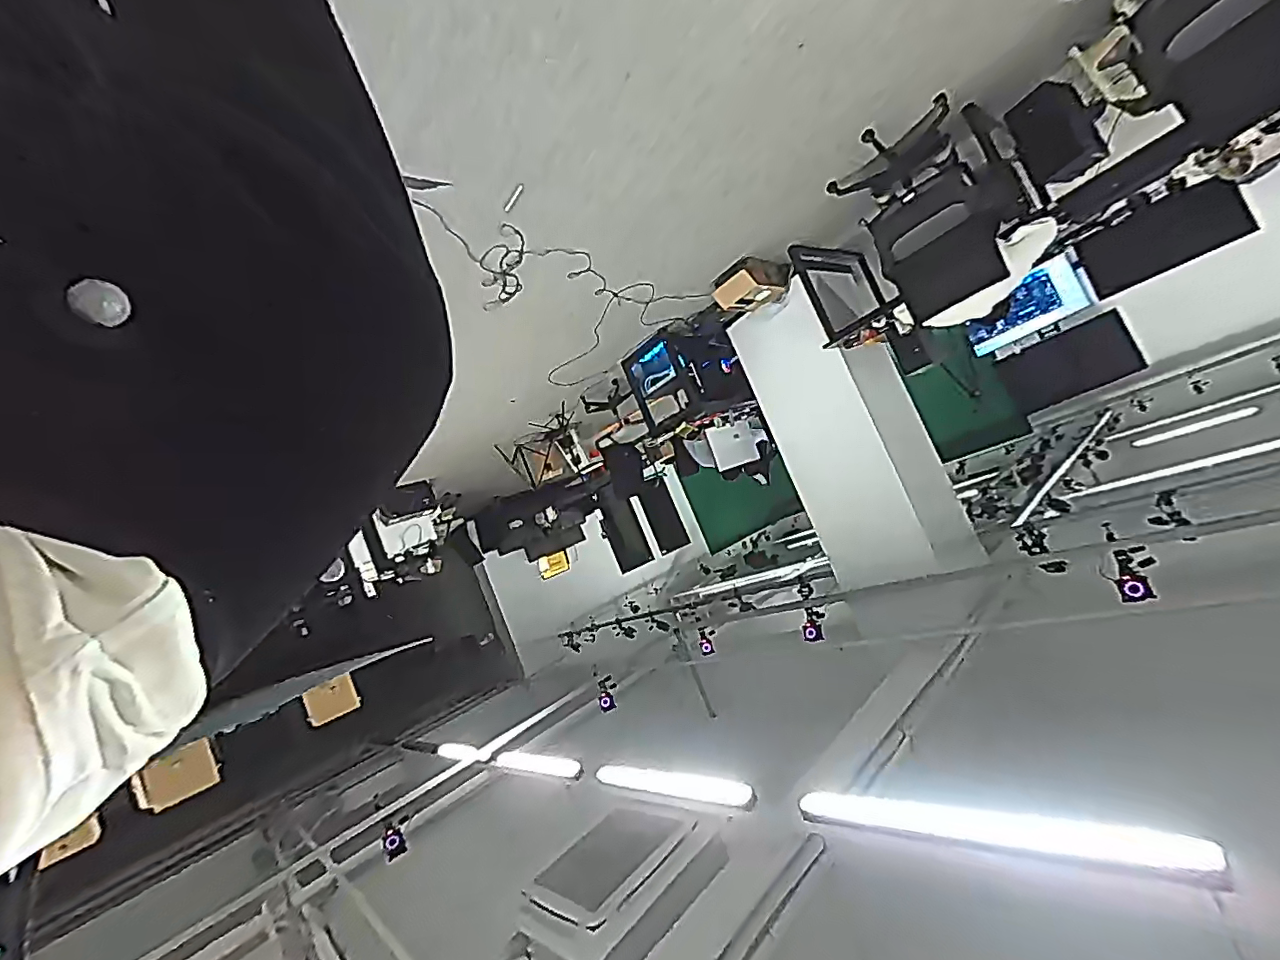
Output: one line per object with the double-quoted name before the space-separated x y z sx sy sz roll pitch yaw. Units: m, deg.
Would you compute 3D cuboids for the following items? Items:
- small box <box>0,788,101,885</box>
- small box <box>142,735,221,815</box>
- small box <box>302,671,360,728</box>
"small box" -1.733 1.039 1.595 0.168 0.176 0.179 -19 175 -44
"small box" -1.523 0.970 1.797 0.168 0.176 0.179 -19 174 -42
"small box" -1.315 0.928 2.294 0.168 0.176 0.179 -18 172 -41
